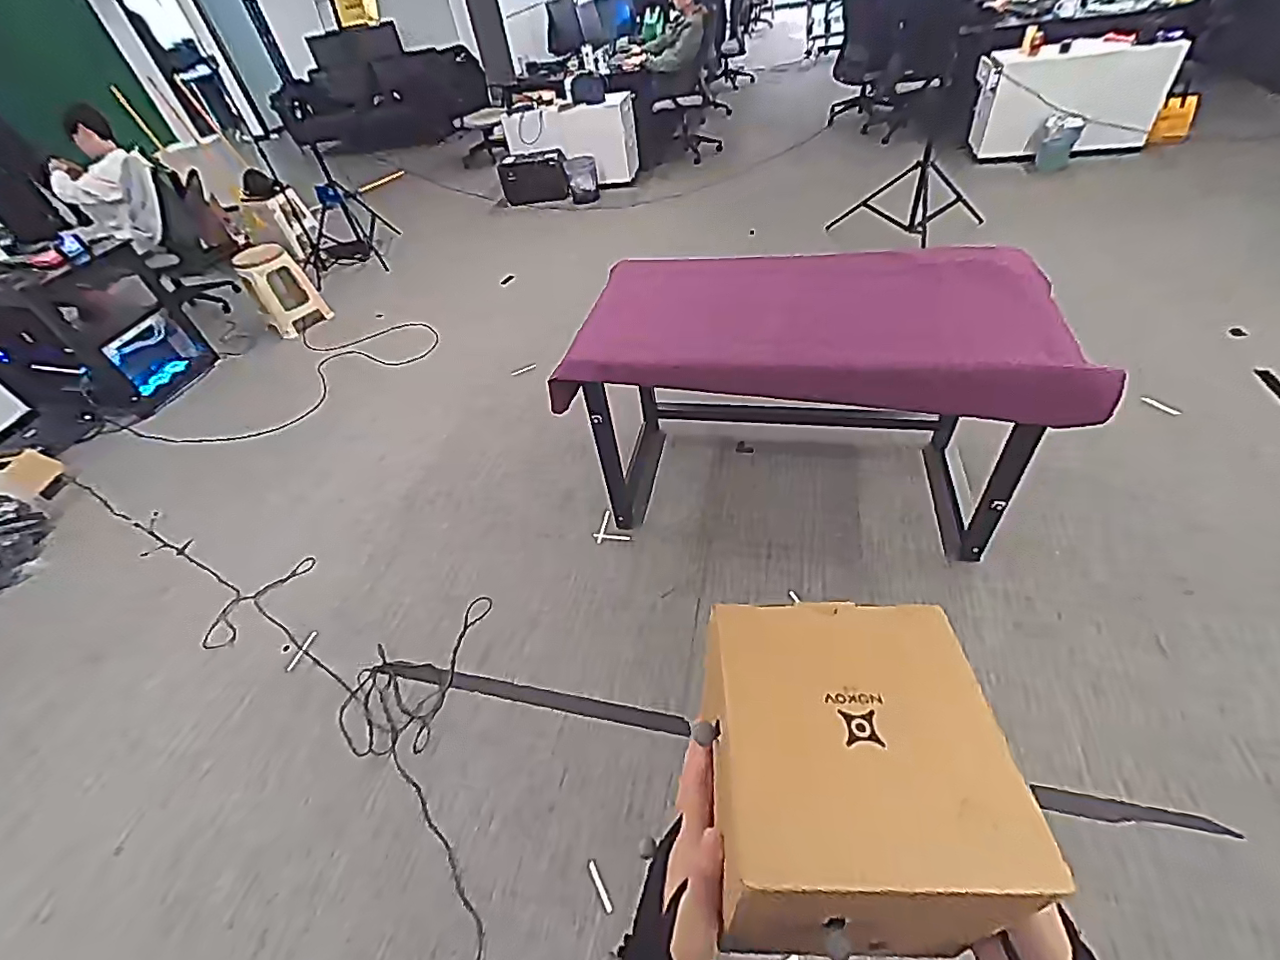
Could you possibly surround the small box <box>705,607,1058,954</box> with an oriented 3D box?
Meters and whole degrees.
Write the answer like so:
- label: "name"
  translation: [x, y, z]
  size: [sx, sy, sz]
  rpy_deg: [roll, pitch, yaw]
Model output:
- label: "small box"
  translation: [0.136, 0.213, 0.389]
  size: [0.168, 0.176, 0.179]
  rpy_deg: [0, 39, 2]
